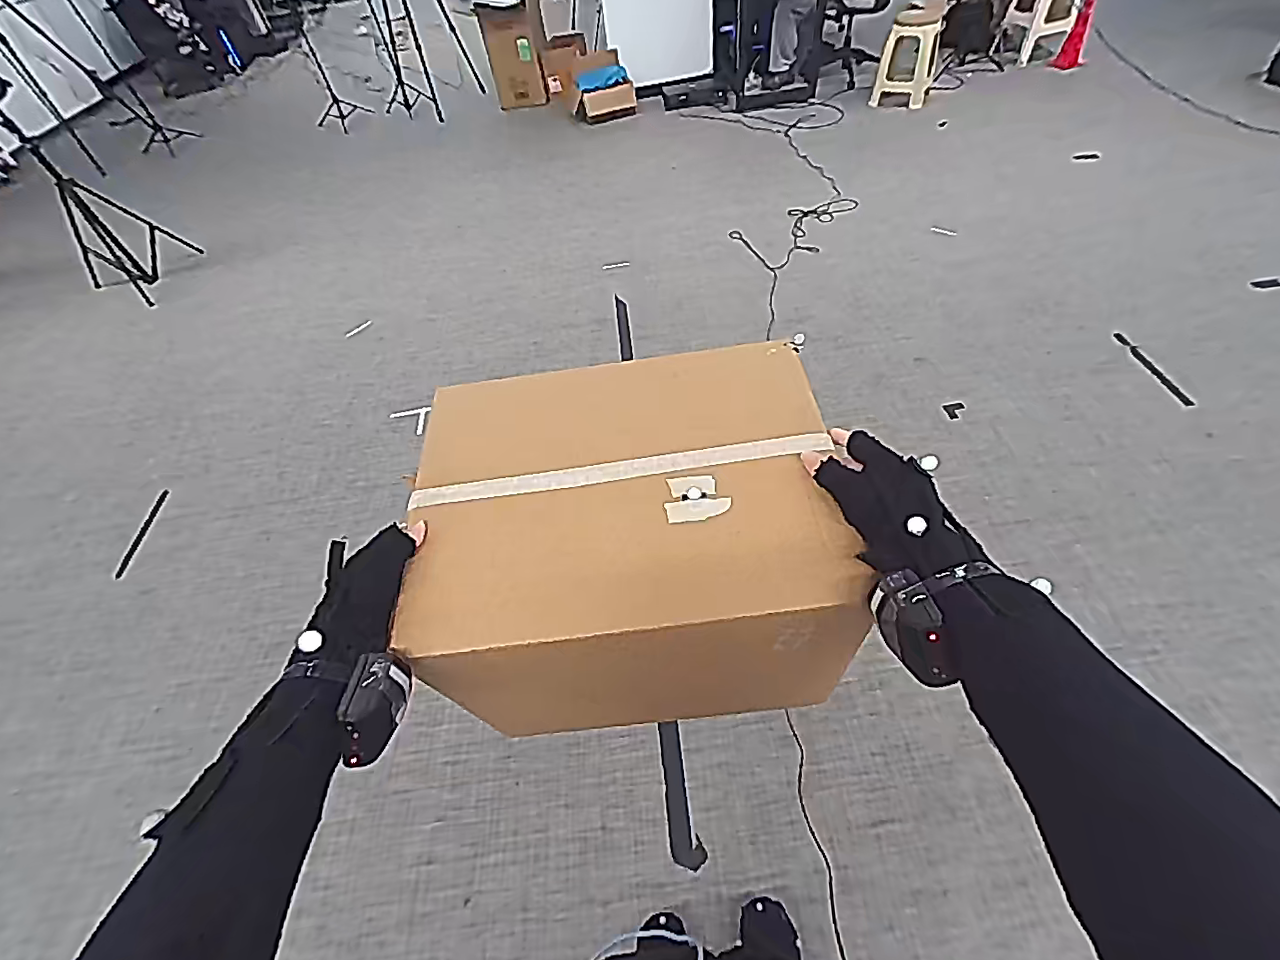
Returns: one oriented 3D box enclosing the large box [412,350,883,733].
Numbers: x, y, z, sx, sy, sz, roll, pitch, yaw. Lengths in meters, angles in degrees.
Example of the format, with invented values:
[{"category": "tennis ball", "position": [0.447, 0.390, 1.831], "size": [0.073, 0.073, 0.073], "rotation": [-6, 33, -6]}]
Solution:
[{"category": "large box", "position": [0.004, 0.087, 0.651], "size": [0.408, 0.320, 0.320], "rotation": [-7, 54, 2]}]
